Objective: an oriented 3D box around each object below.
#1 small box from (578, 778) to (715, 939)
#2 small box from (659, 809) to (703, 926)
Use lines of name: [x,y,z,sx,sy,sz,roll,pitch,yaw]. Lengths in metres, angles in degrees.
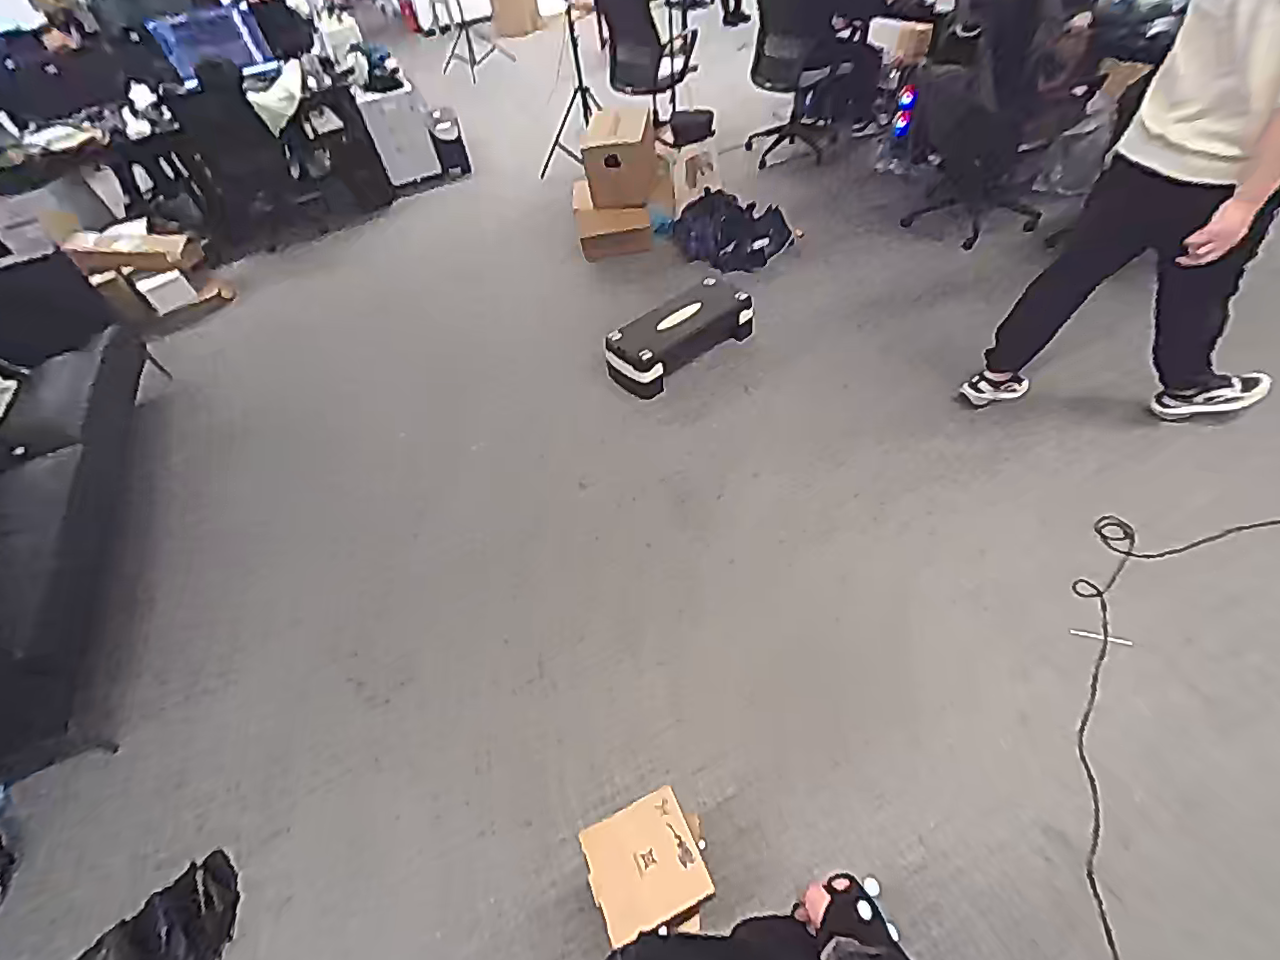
small box: [0.016,0.654,0.935,0.179,0.176,0.168,-24,52,-8]
small box: [0.037,0.756,1.062,0.168,0.176,0.179,-2,53,9]
